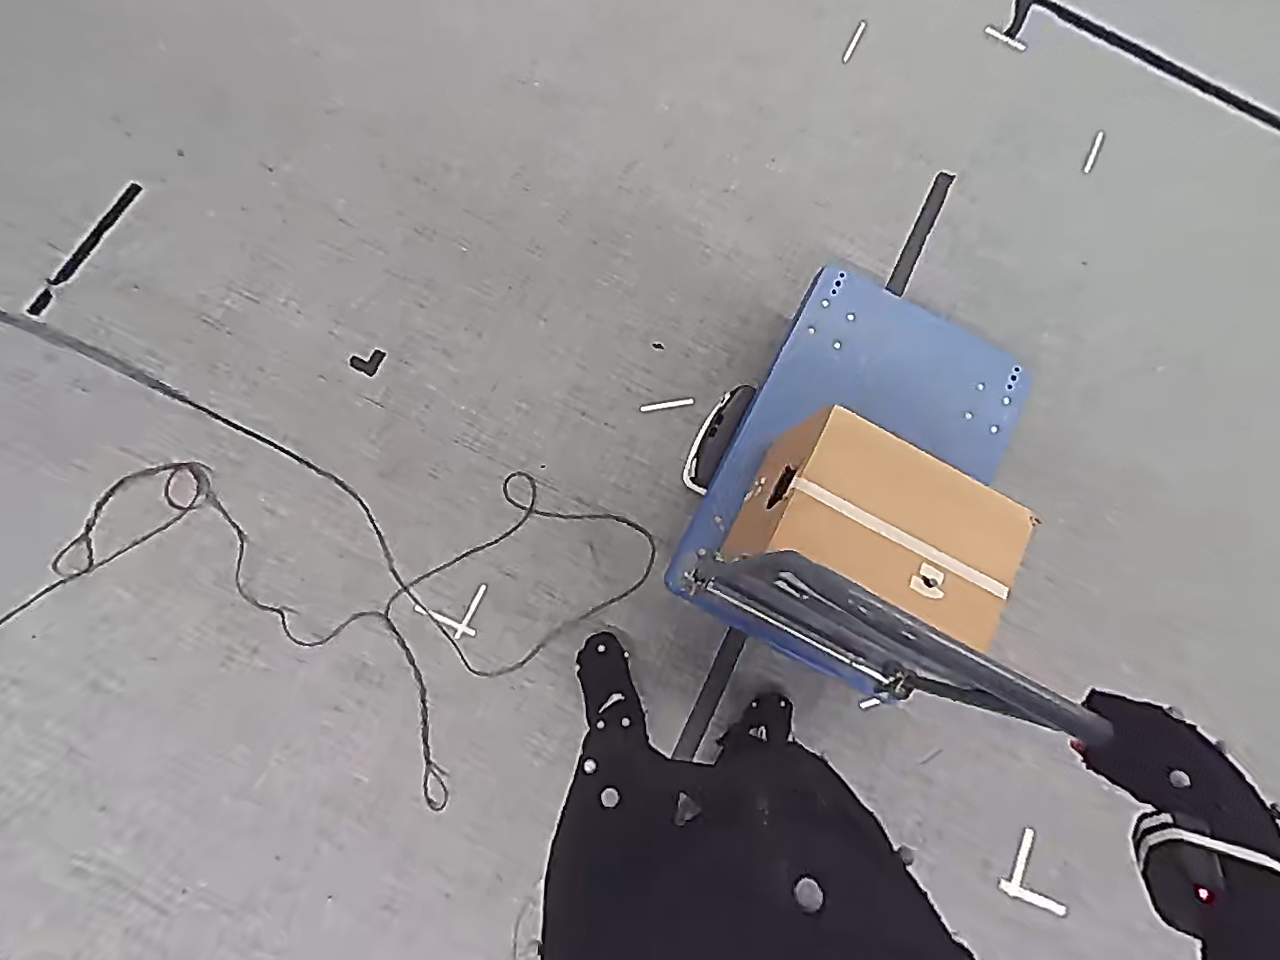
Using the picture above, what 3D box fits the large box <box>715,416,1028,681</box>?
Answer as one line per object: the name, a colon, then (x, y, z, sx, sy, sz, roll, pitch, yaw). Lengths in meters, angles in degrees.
large box: (0.413, 0.130, 1.047, 0.408, 0.320, 0.320, 28, 81, -2)
